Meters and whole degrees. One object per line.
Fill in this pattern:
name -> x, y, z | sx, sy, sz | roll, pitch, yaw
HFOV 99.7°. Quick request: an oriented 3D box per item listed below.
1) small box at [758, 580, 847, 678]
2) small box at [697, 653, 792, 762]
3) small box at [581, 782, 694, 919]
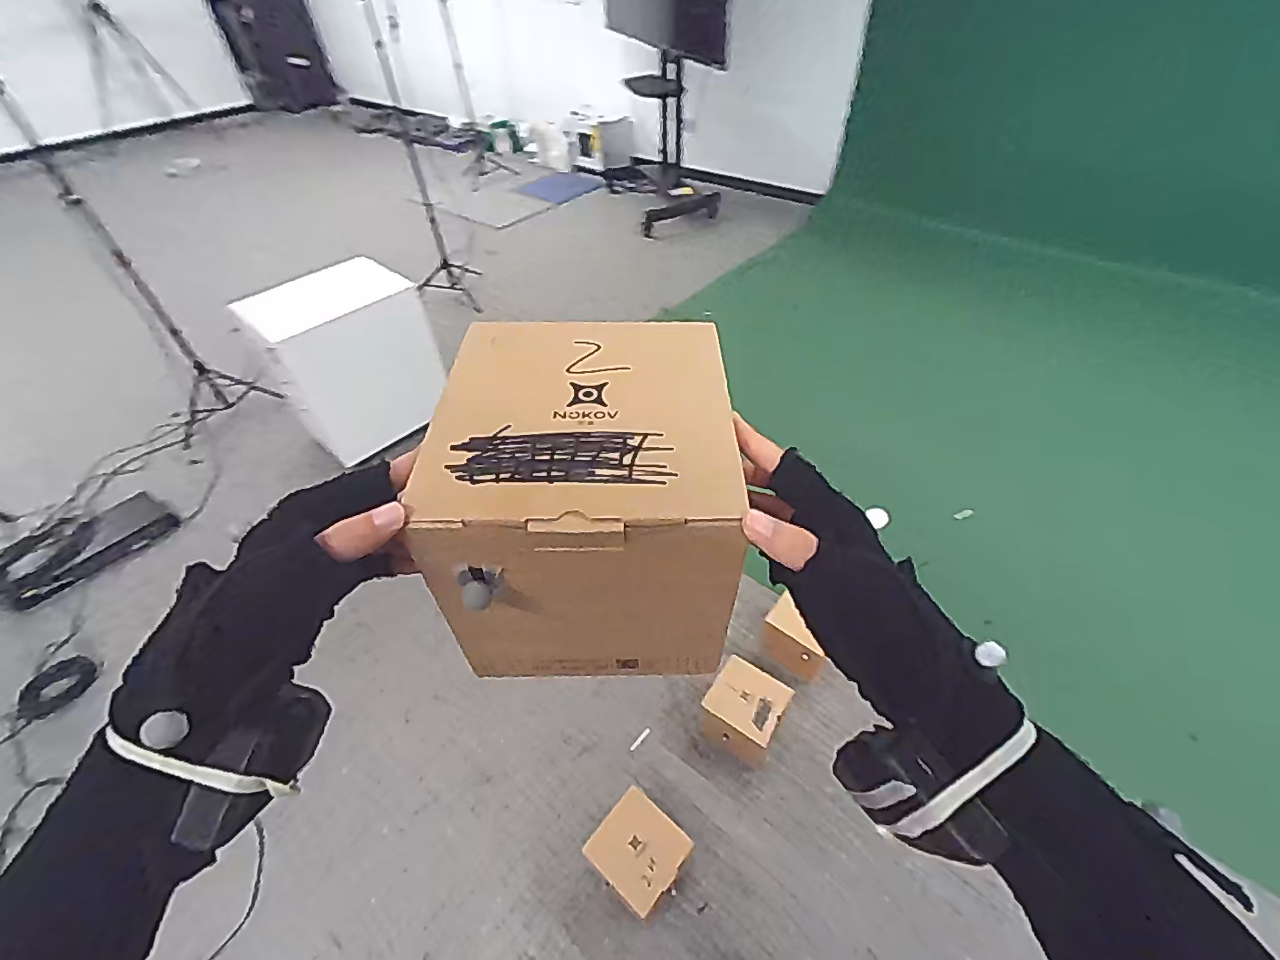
small box -> 0.452, 0.426, 1.532 | 0.179, 0.176, 0.168 | 30, 54, 27
small box -> 0.261, 0.585, 1.378 | 0.179, 0.176, 0.168 | 25, 51, 26
small box -> -0.003, 0.803, 1.167 | 0.179, 0.176, 0.168 | 31, 55, 28
